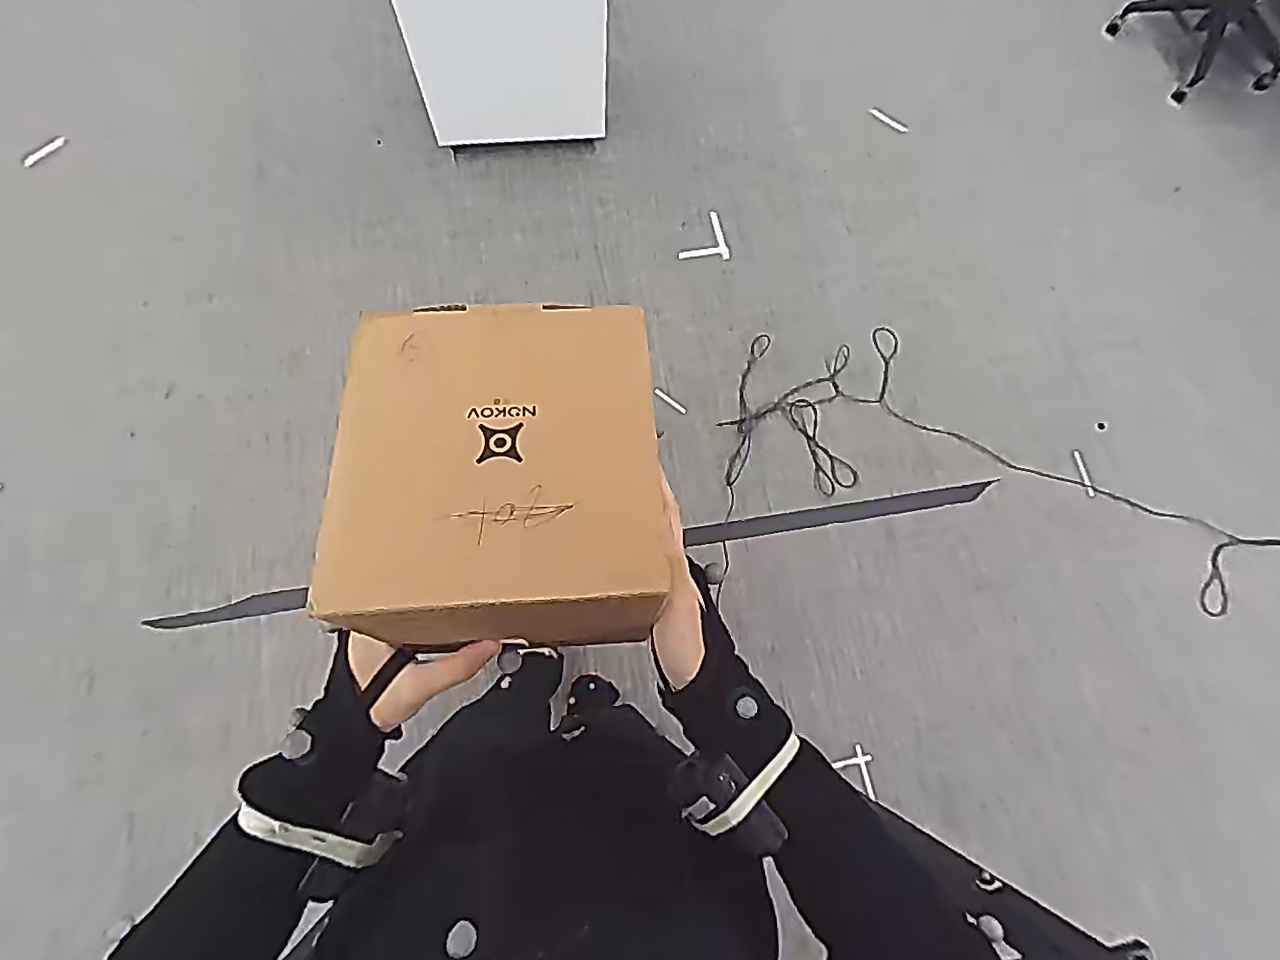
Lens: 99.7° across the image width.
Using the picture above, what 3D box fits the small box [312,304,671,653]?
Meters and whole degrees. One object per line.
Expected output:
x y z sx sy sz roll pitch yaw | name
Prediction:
-0.077 0.009 0.354 0.168 0.176 0.179 -2 66 -5 | small box
